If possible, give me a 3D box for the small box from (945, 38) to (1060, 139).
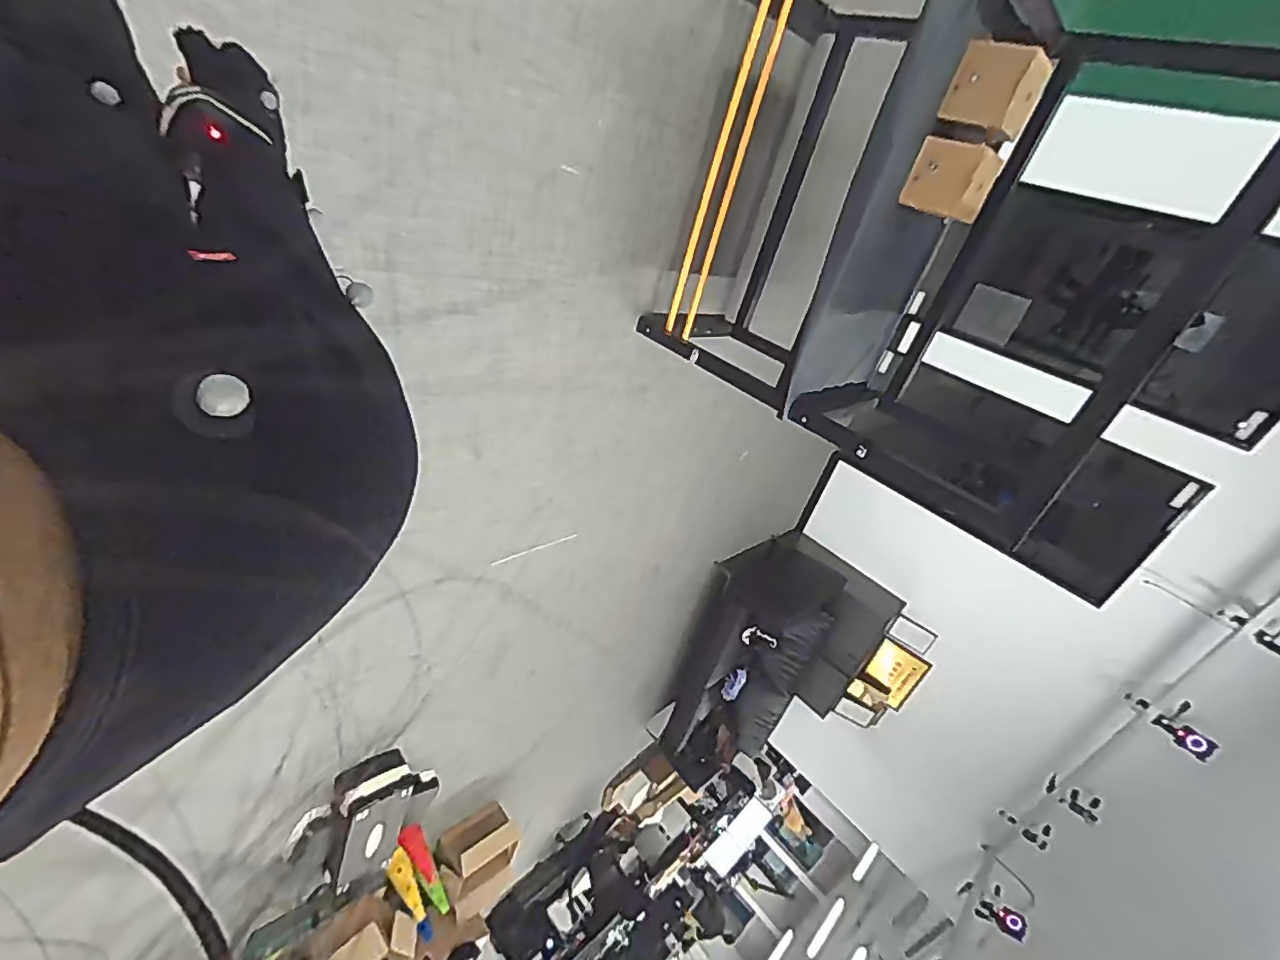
[{"bbox_3d":[0.920,-0.999,1.380,0.179,0.176,0.168,-16,133,-43],"label":"small box"}]
